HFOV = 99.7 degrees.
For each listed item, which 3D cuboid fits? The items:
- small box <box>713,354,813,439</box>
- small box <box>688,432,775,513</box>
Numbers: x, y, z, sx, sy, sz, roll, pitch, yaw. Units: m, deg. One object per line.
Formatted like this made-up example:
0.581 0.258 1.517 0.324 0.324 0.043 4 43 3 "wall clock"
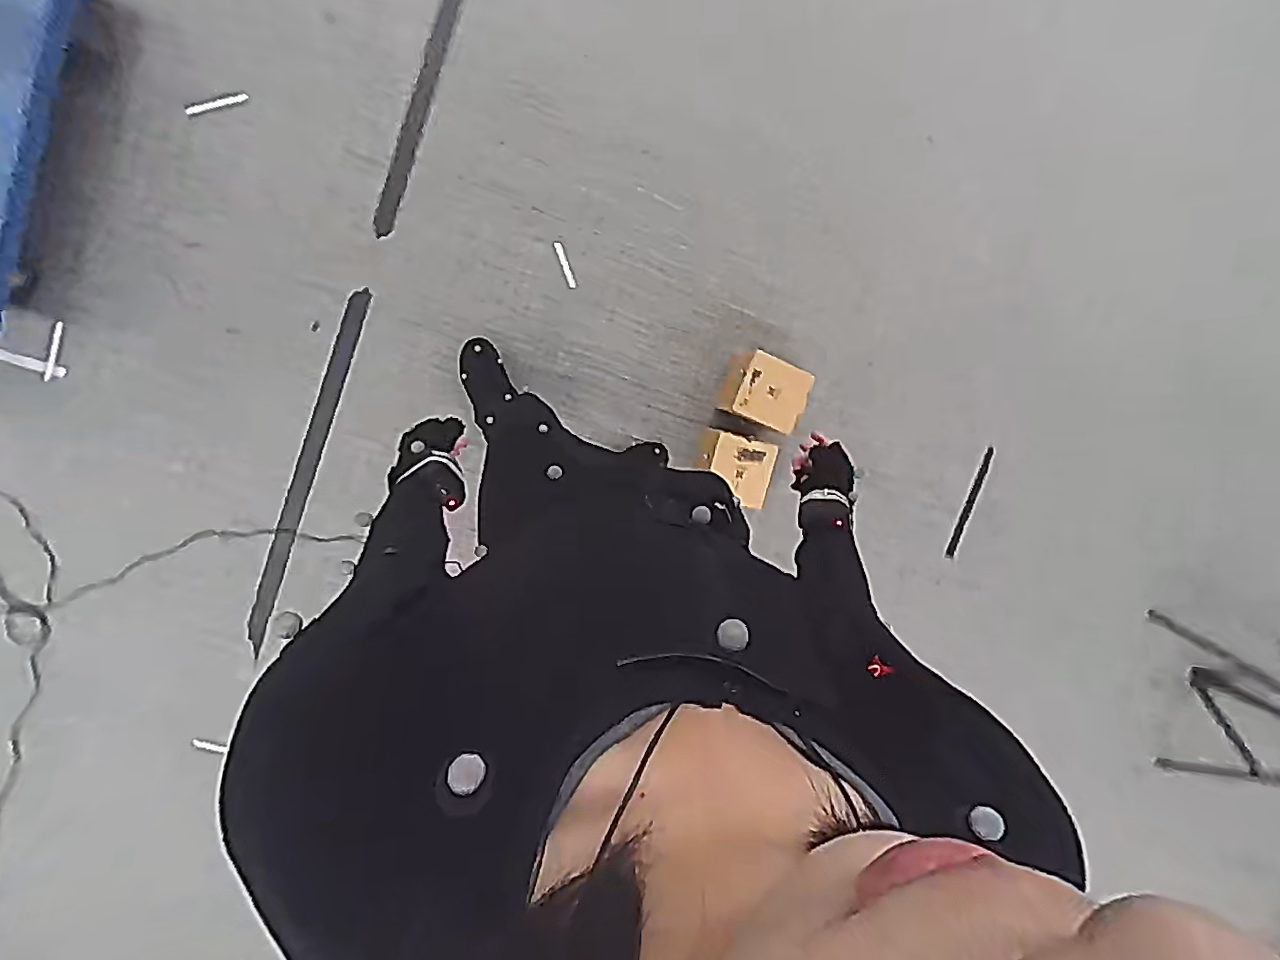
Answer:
0.325 -0.226 1.461 0.179 0.176 0.168 23 94 -11 "small box"
0.243 -0.028 1.479 0.168 0.176 0.179 14 97 -10 "small box"
